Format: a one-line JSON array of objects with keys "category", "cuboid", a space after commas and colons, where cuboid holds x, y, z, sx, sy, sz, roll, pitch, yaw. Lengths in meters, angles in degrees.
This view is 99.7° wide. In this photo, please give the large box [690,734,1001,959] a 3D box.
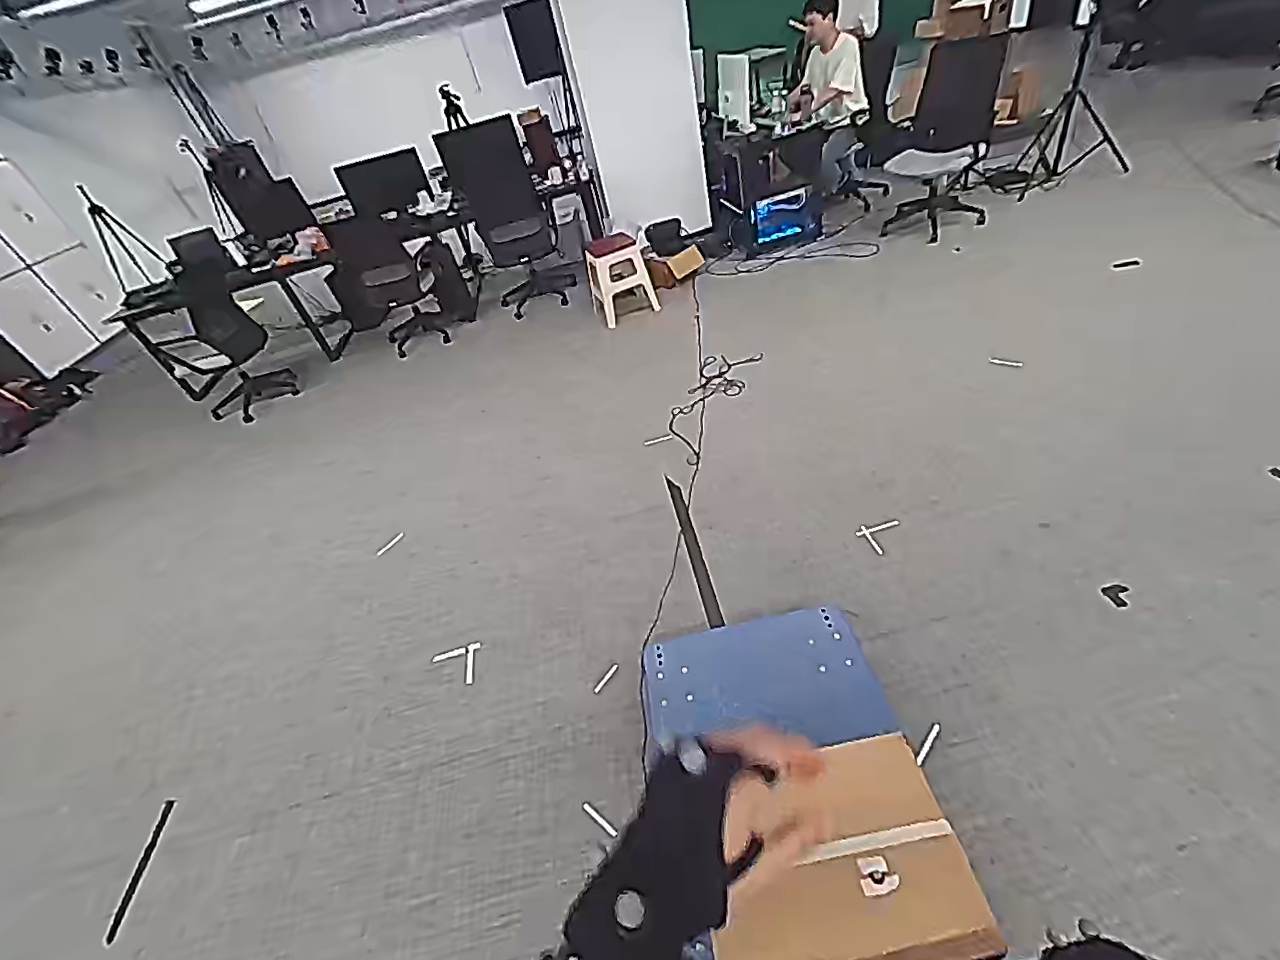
[{"category": "large box", "cuboid": [0.331, 0.719, 0.973, 0.408, 0.320, 0.320, -14, 40, 3]}]
